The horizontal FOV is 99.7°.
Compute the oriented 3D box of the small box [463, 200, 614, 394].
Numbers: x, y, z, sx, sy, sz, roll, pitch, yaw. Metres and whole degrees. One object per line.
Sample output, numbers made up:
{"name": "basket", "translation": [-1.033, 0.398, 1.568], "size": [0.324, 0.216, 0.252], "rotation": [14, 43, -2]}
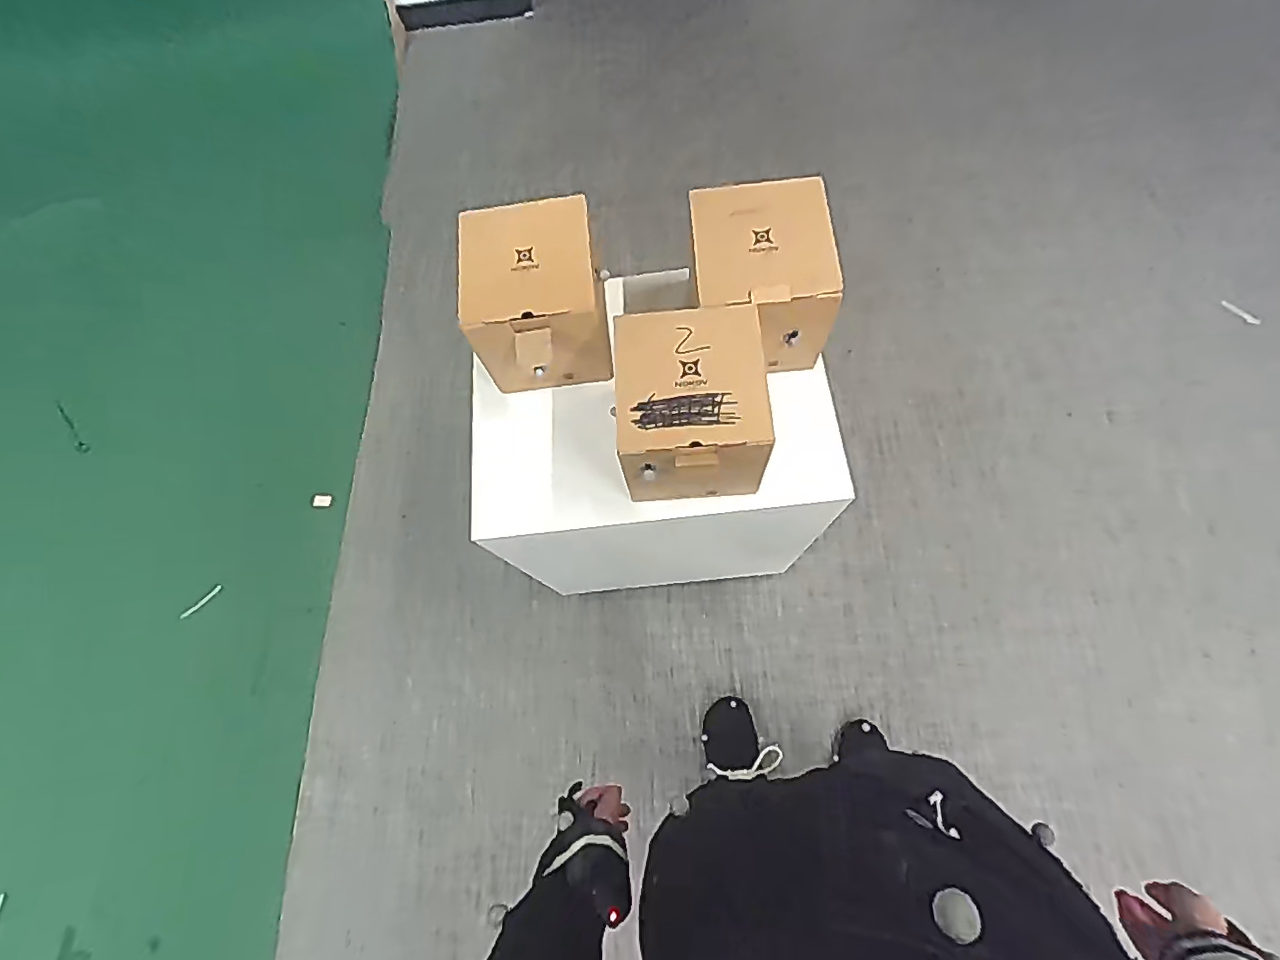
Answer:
{"name": "small box", "translation": [-0.130, -0.240, 0.736], "size": [0.168, 0.176, 0.179], "rotation": [-7, 72, 2]}
